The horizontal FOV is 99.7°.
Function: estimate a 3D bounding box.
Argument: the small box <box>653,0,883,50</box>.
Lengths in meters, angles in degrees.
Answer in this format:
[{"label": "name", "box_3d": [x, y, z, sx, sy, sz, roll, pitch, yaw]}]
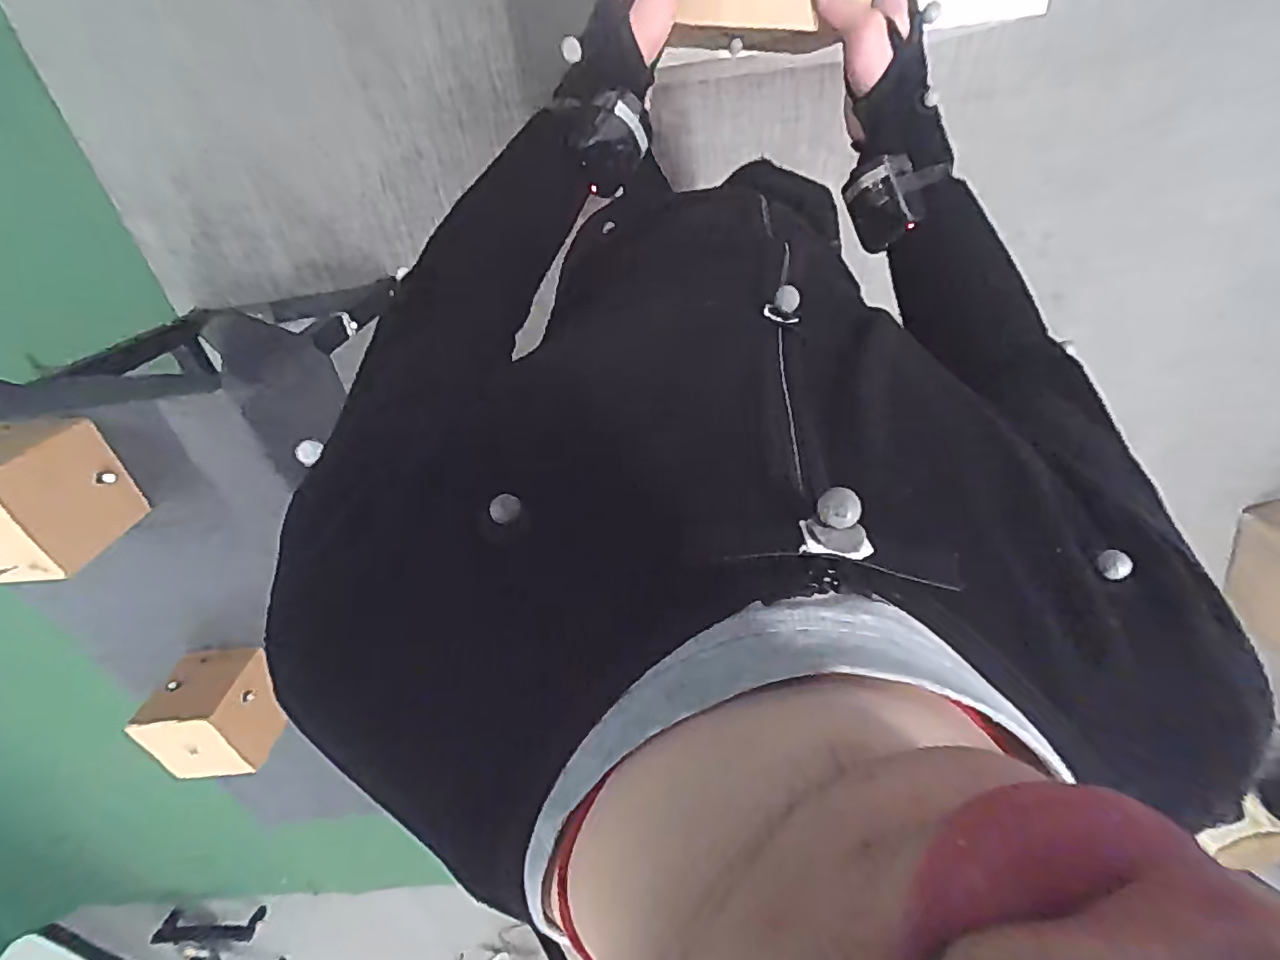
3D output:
[{"label": "small box", "box_3d": [0.104, -0.472, 0.448, 0.179, 0.176, 0.168, 1, 125, -4]}]

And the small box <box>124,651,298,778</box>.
[{"label": "small box", "box_3d": [-0.825, 0.454, 1.064, 0.168, 0.176, 0.179, -7, 125, 4]}]

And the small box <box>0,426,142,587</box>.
[{"label": "small box", "box_3d": [-0.888, 0.032, 0.769, 0.168, 0.176, 0.179, -4, 124, 0]}]
